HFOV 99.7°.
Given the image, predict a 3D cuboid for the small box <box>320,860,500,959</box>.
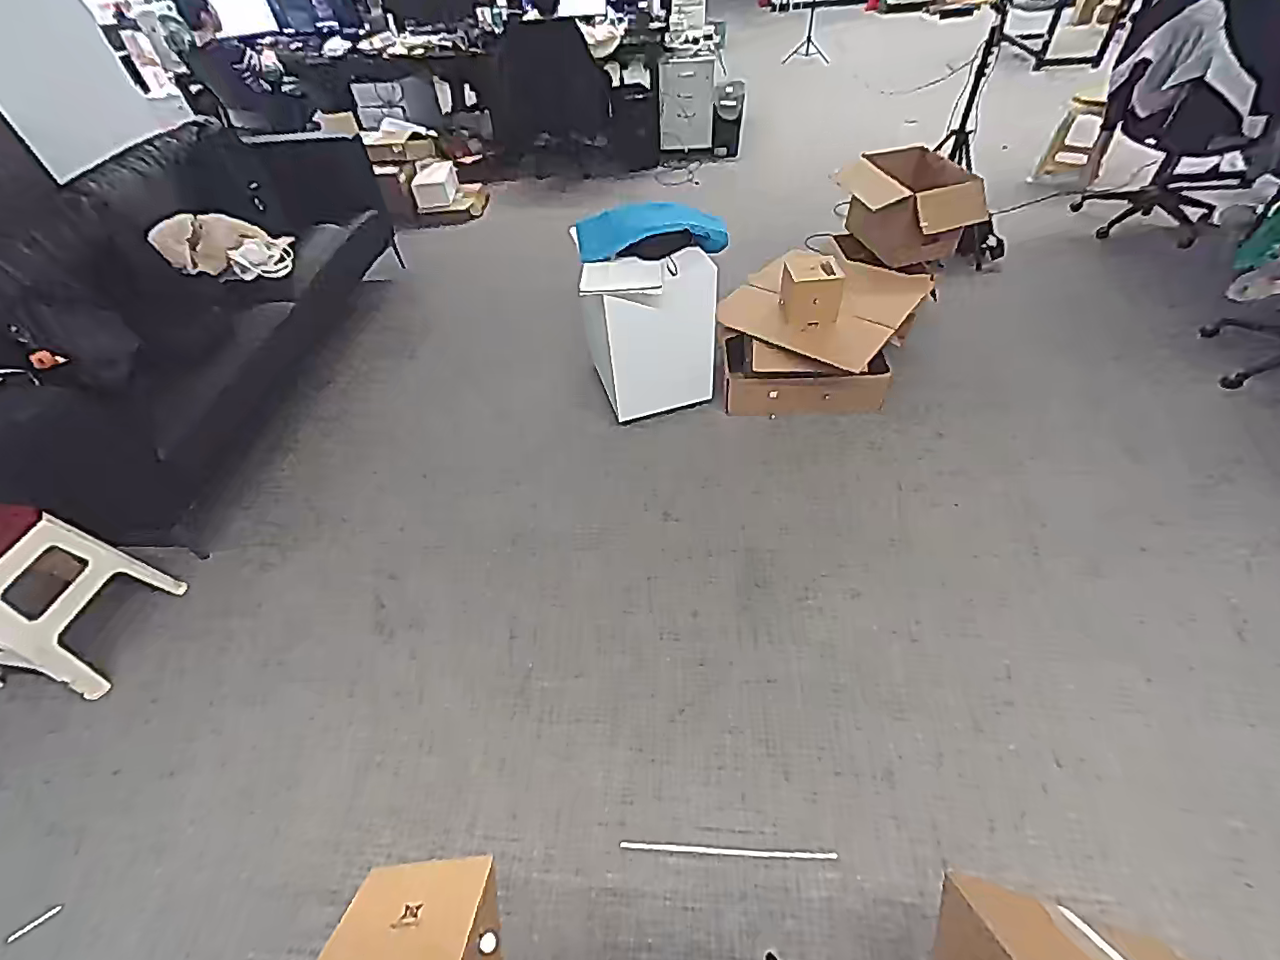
[{"bbox_3d":[-0.270,0.609,0.655,0.168,0.179,0.176,-5,92,-3],"label":"small box"}]
